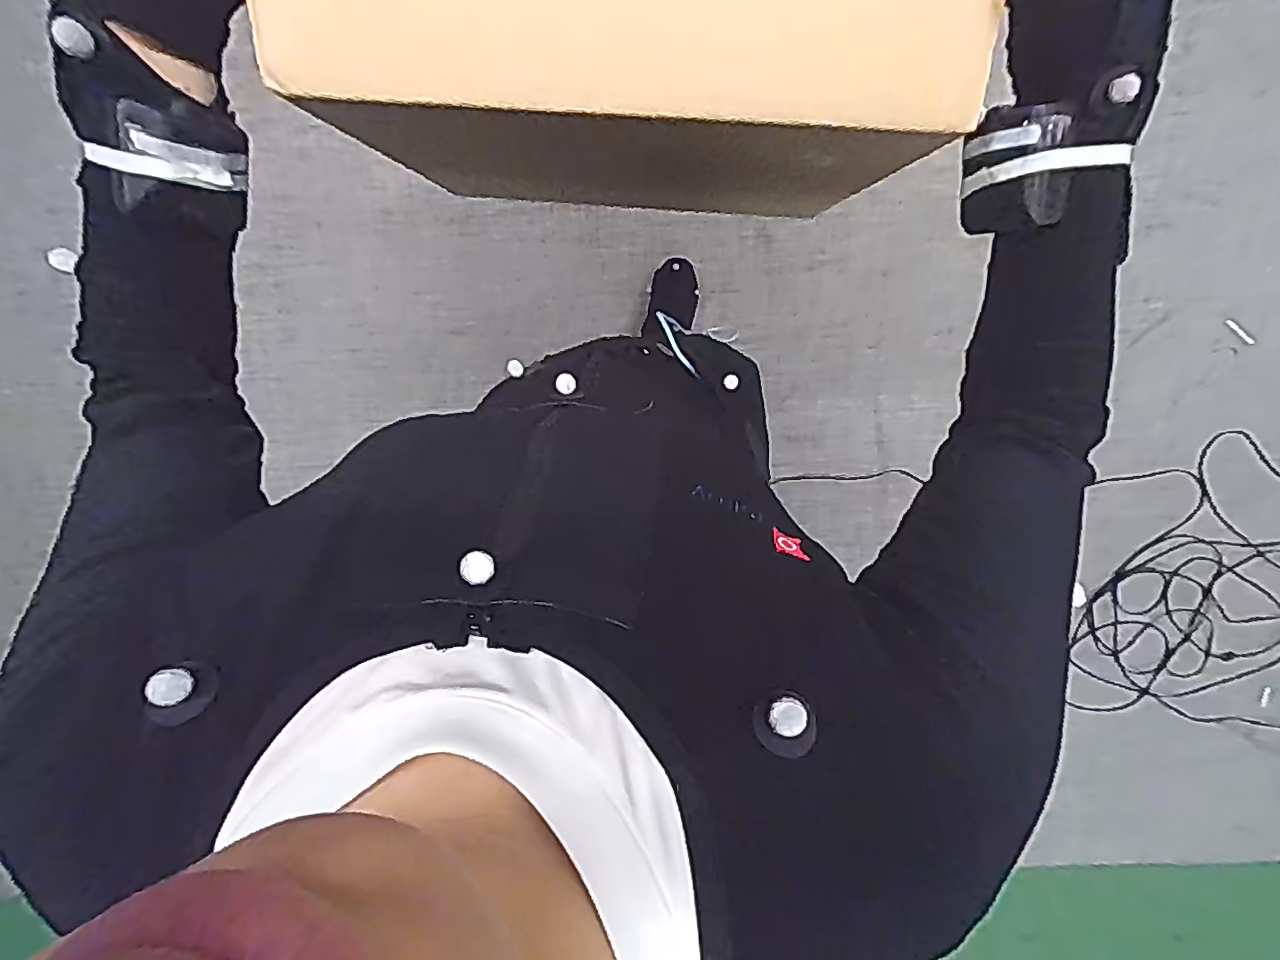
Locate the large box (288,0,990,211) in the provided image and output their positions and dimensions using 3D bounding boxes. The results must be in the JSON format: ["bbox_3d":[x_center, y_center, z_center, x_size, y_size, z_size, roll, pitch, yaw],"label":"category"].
[{"bbox_3d":[0.003,-0.407,0.418,0.408,0.320,0.320,3,108,0],"label":"large box"}]
